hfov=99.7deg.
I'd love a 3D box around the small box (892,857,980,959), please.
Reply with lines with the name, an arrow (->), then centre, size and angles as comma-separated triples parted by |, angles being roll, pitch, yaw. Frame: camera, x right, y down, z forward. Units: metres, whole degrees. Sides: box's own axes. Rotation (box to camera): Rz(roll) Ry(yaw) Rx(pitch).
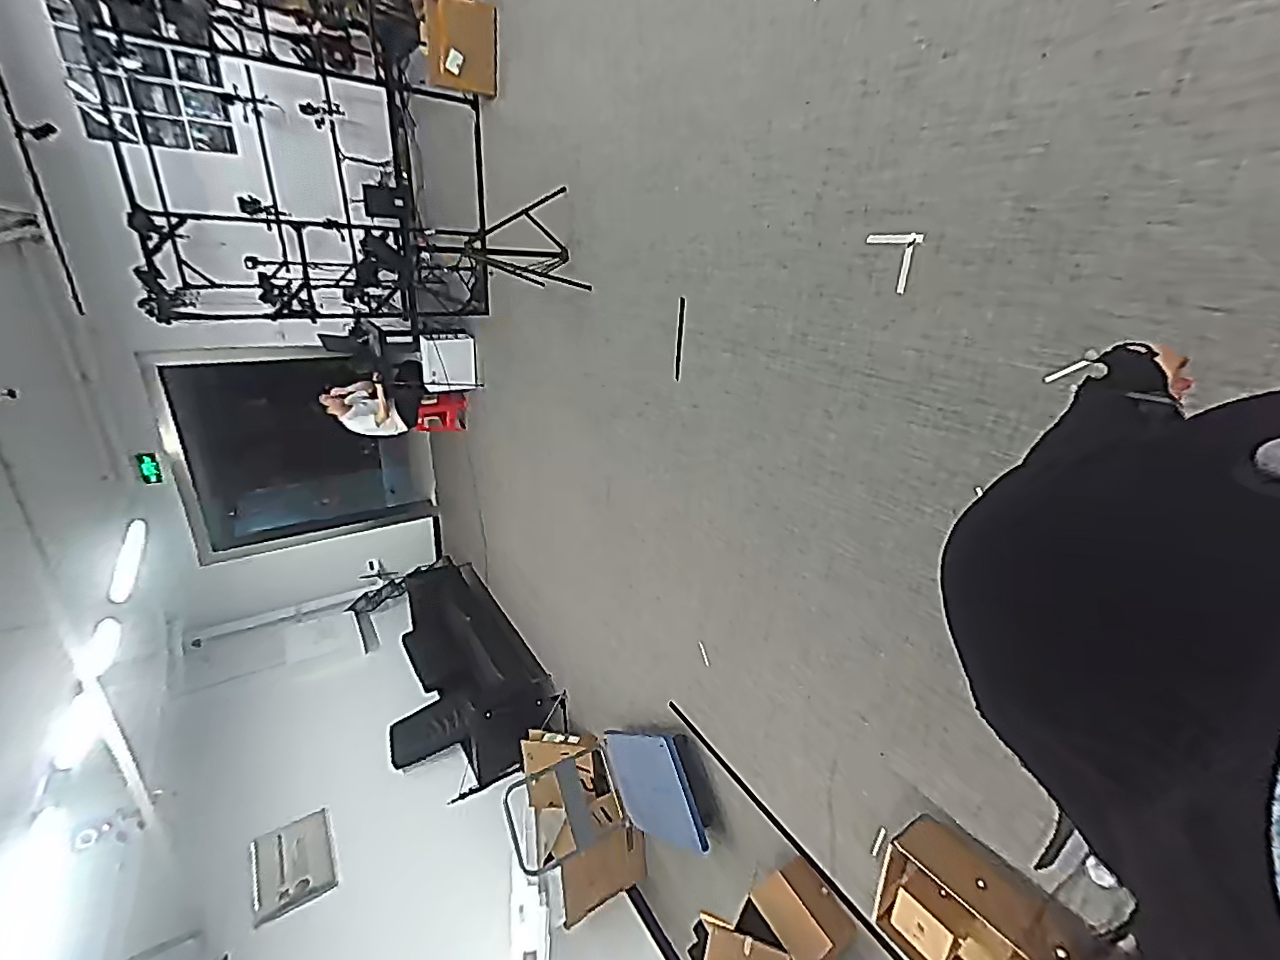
small box -> 0.917, 1.328, 1.674 | 0.168, 0.176, 0.179 | 30, 125, 50
